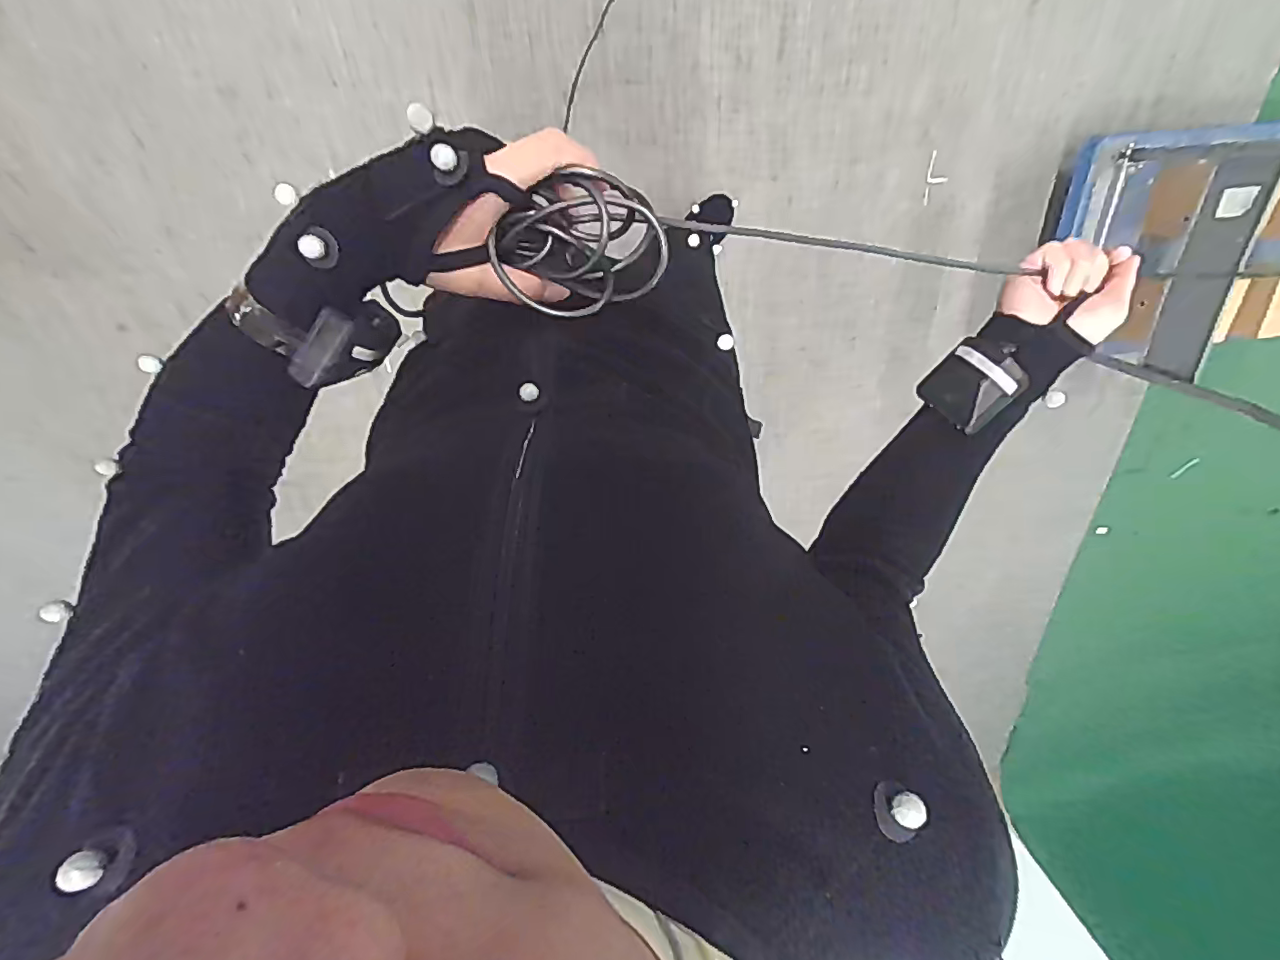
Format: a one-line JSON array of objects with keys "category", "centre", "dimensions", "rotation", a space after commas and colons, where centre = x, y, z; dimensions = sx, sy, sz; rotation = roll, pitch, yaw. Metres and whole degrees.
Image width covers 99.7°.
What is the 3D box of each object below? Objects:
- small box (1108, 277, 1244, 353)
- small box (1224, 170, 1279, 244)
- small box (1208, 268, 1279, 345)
[{"category": "small box", "centre": [1.464, -0.459, 1.490], "dimensions": [0.179, 0.176, 0.168], "rotation": [-6, 118, -6]}, {"category": "small box", "centre": [1.698, -0.711, 1.399], "dimensions": [0.179, 0.176, 0.168], "rotation": [-10, 119, -4]}, {"category": "small box", "centre": [1.731, -0.492, 1.518], "dimensions": [0.179, 0.176, 0.168], "rotation": [-10, 118, -3]}]
